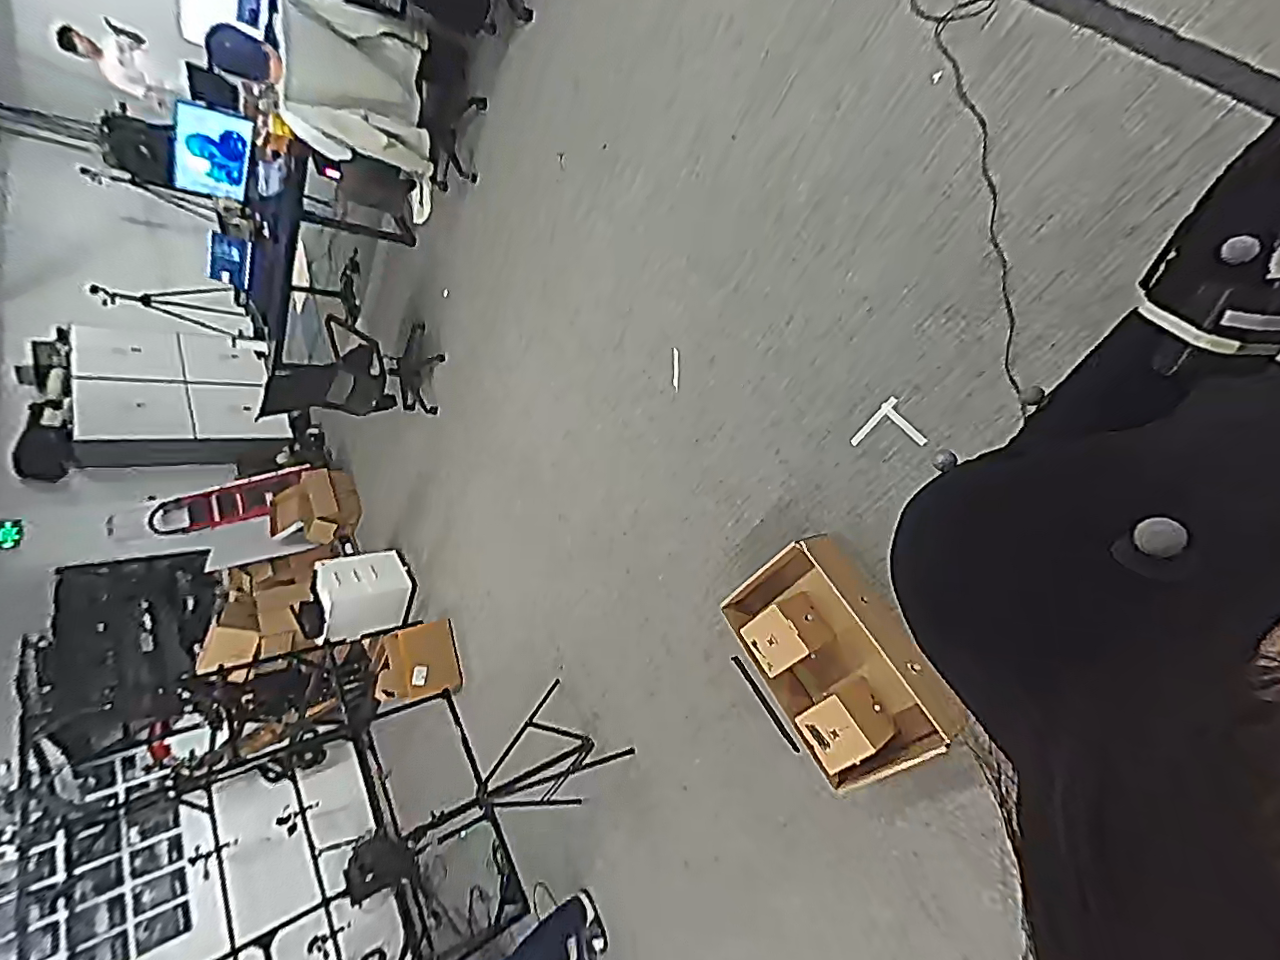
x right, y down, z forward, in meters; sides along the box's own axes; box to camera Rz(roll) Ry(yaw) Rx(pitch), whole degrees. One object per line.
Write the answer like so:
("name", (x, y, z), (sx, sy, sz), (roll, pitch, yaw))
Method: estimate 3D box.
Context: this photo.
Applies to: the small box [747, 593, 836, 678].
("small box", (0.466, 0.465, 1.635), (0.179, 0.176, 0.168), (-51, 59, 35))
